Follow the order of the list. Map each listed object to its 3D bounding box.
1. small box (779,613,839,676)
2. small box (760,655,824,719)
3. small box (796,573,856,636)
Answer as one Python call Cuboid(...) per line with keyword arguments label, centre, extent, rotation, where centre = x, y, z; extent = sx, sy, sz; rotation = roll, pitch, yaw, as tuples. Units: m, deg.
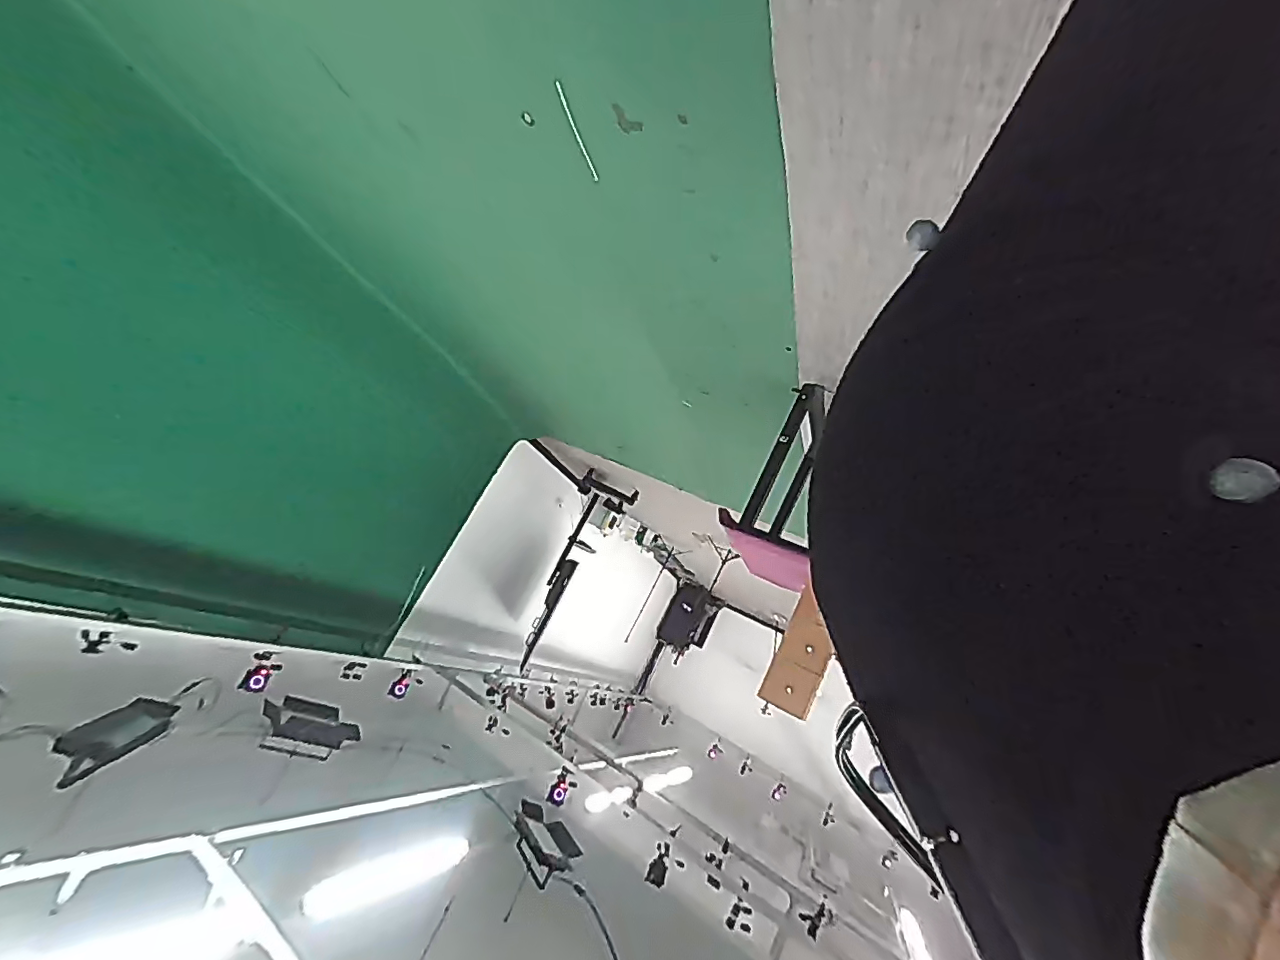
Cuboid(label="small box", centre=(0.641, 0.619, 2.039), extent=(0.179, 0.176, 0.168), rotation=(20, 164, 26))
Cuboid(label="small box", centre=(0.566, 0.762, 2.004), extent=(0.179, 0.176, 0.168), rotation=(20, 165, 27))
Cuboid(label="small box", centre=(0.714, 0.477, 2.074), extent=(0.179, 0.176, 0.168), rotation=(22, 166, 25))
